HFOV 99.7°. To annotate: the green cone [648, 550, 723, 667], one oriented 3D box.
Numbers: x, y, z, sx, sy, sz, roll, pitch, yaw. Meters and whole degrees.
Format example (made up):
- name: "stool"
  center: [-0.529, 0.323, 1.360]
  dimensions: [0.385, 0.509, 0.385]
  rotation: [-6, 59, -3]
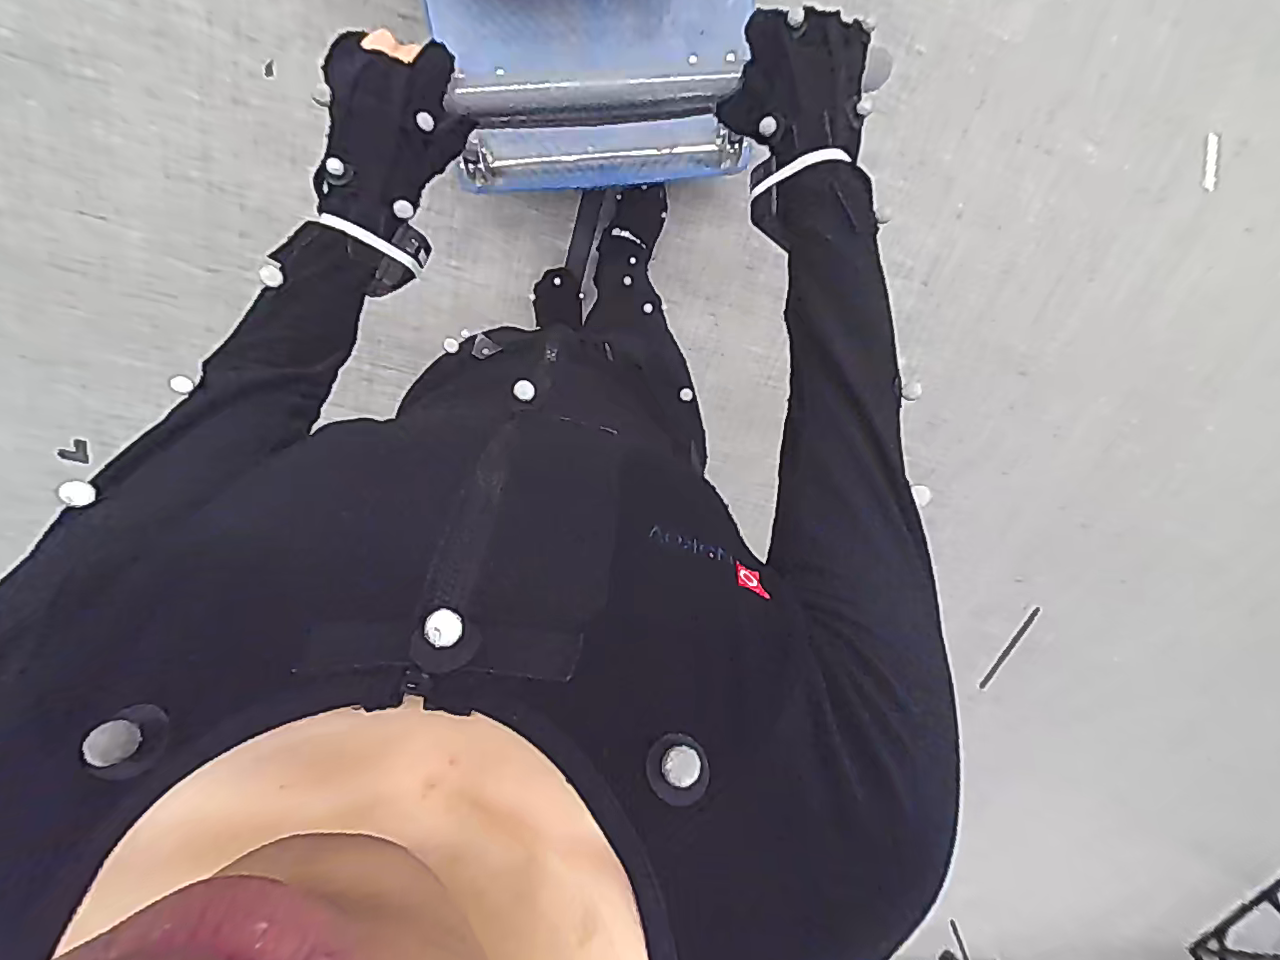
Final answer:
- name: "green cone"
  center: [0.161, 0.398, 1.575]
  dimensions: [0.202, 0.368, 0.200]
  rotation: [17, 114, -14]
